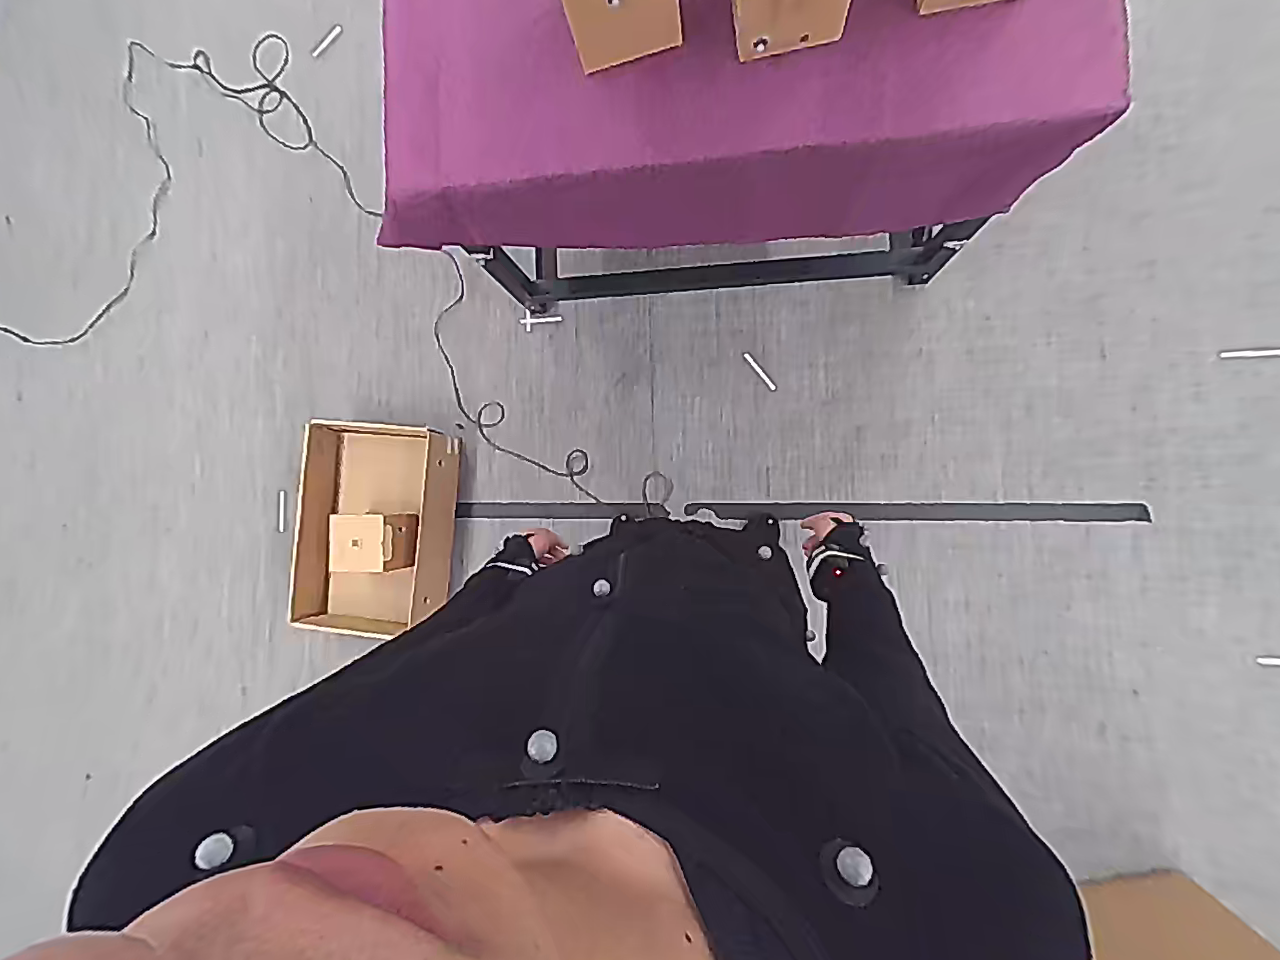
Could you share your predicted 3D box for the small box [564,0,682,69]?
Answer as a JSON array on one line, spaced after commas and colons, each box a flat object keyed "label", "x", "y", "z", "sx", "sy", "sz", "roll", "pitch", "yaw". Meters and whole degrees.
[{"label": "small box", "x": -0.037, "y": -0.802, "z": 0.855, "sx": 0.179, "sy": 0.176, "sz": 0.168, "roll": -11, "pitch": 87, "yaw": 7}]

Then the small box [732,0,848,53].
[{"label": "small box", "x": 0.226, "y": -0.792, "z": 0.817, "sx": 0.168, "sy": 0.176, "sz": 0.179, "roll": -6, "pitch": 86, "yaw": 8}]

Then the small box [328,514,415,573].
[{"label": "small box", "x": -0.796, "y": 0.186, "z": 1.619, "sx": 0.179, "sy": 0.176, "sz": 0.168, "roll": 0, "pitch": 86, "yaw": 8}]
